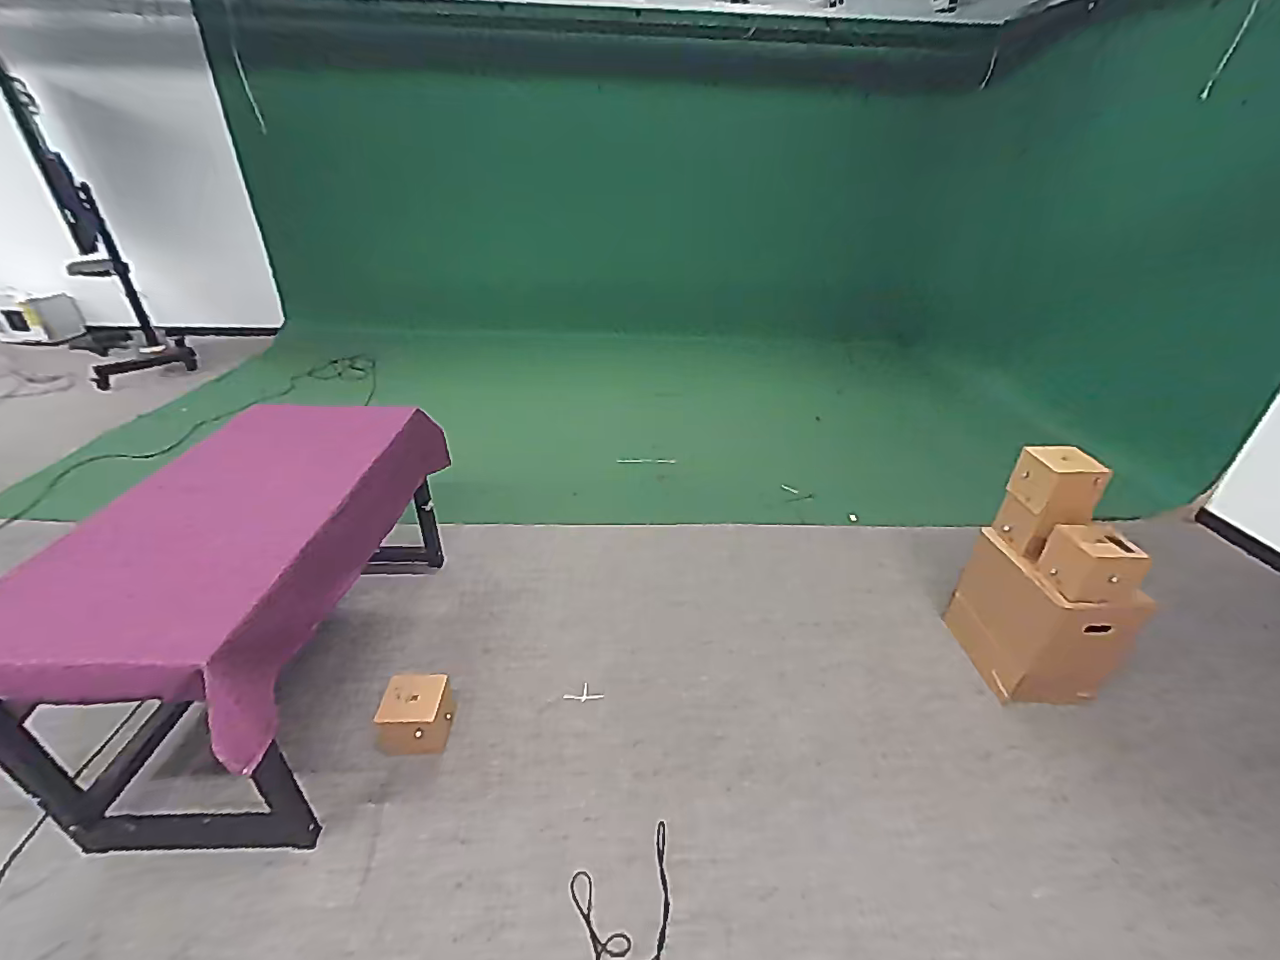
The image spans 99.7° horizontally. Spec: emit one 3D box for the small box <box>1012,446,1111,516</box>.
[{"bbox_3d":[1.342,0.003,1.744,0.179,0.176,0.168,0,33,-2],"label":"small box"}]

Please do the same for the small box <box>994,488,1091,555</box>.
[{"bbox_3d":[1.351,0.141,1.829,0.179,0.176,0.168,-1,33,-1],"label":"small box"}]
